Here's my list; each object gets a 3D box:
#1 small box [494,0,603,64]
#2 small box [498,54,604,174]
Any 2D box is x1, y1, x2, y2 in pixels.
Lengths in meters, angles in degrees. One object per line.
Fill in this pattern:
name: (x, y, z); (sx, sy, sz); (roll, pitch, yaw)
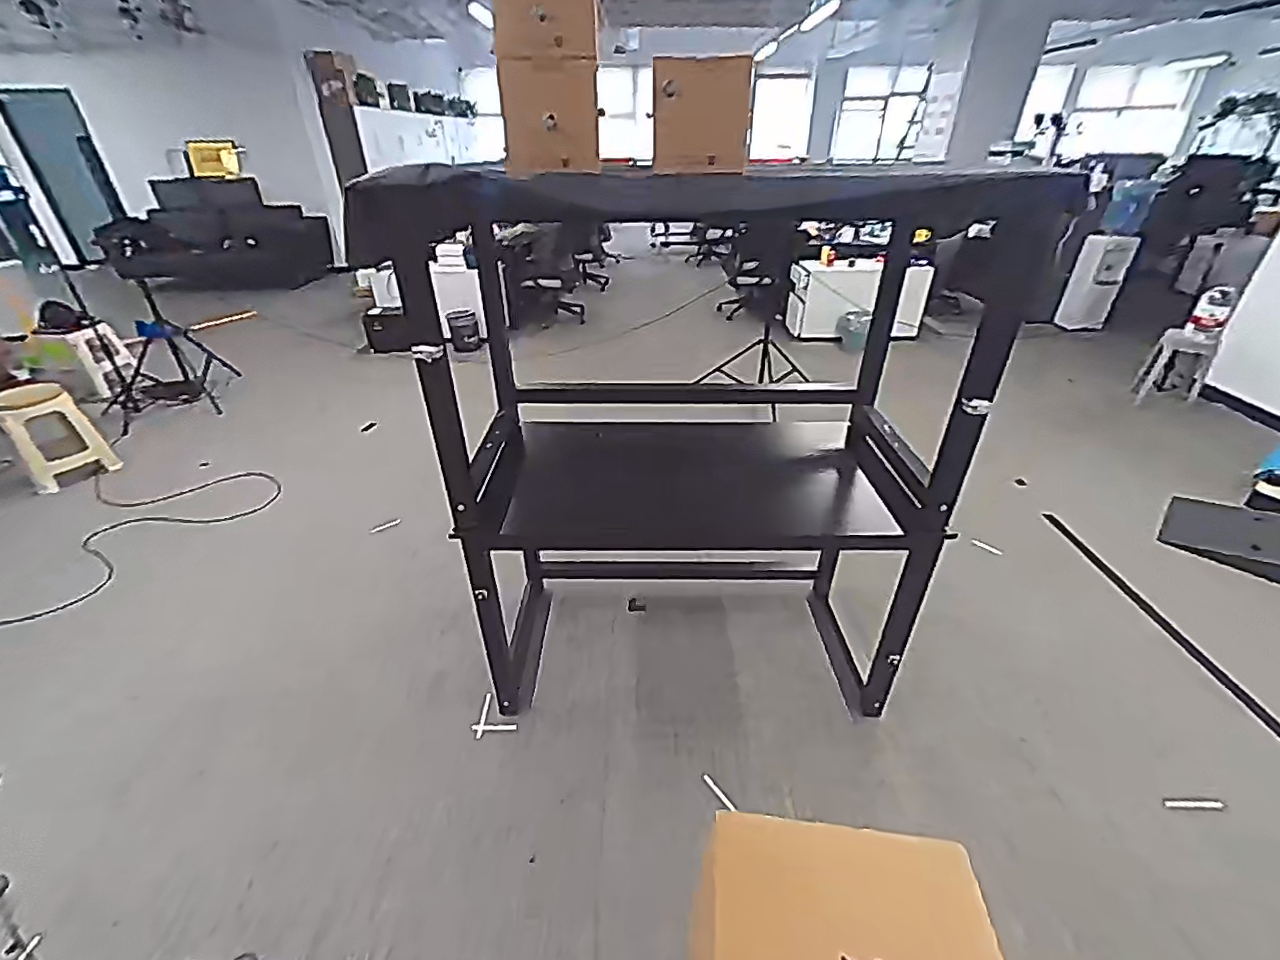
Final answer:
small box: (-0.149, -0.794, 0.891); (0.168, 0.176, 0.179); (-2, 31, -2)
small box: (-0.150, -0.651, 0.975); (0.168, 0.176, 0.179); (-1, 31, -3)
